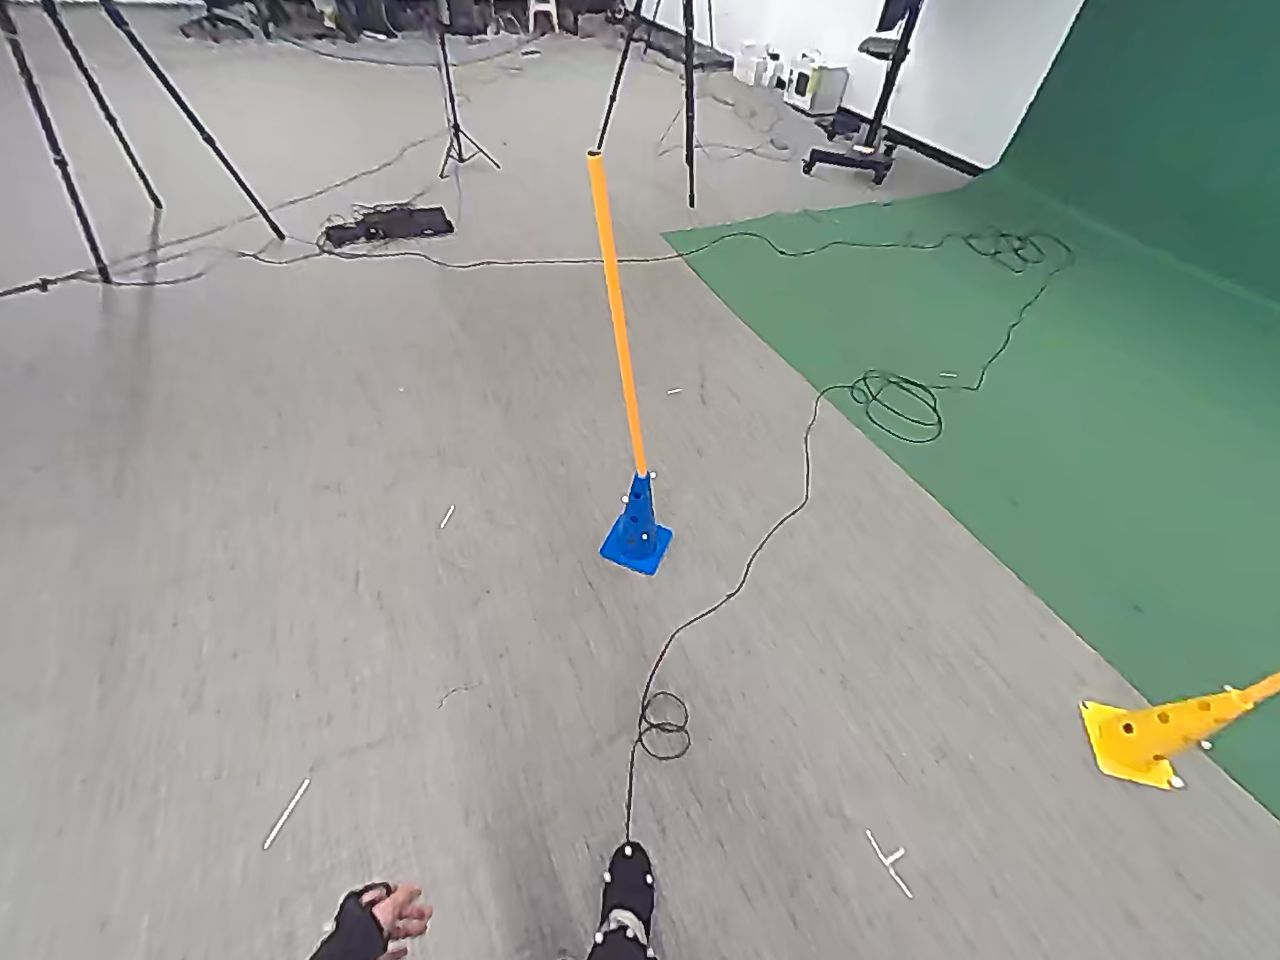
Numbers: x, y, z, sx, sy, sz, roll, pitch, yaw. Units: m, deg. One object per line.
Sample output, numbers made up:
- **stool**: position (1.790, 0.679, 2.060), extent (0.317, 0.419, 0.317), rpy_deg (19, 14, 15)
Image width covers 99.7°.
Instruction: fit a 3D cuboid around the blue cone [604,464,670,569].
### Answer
- **blue cone**: position (-0.003, 0.096, 1.671), extent (0.193, 0.380, 0.192), rpy_deg (18, 50, 12)
